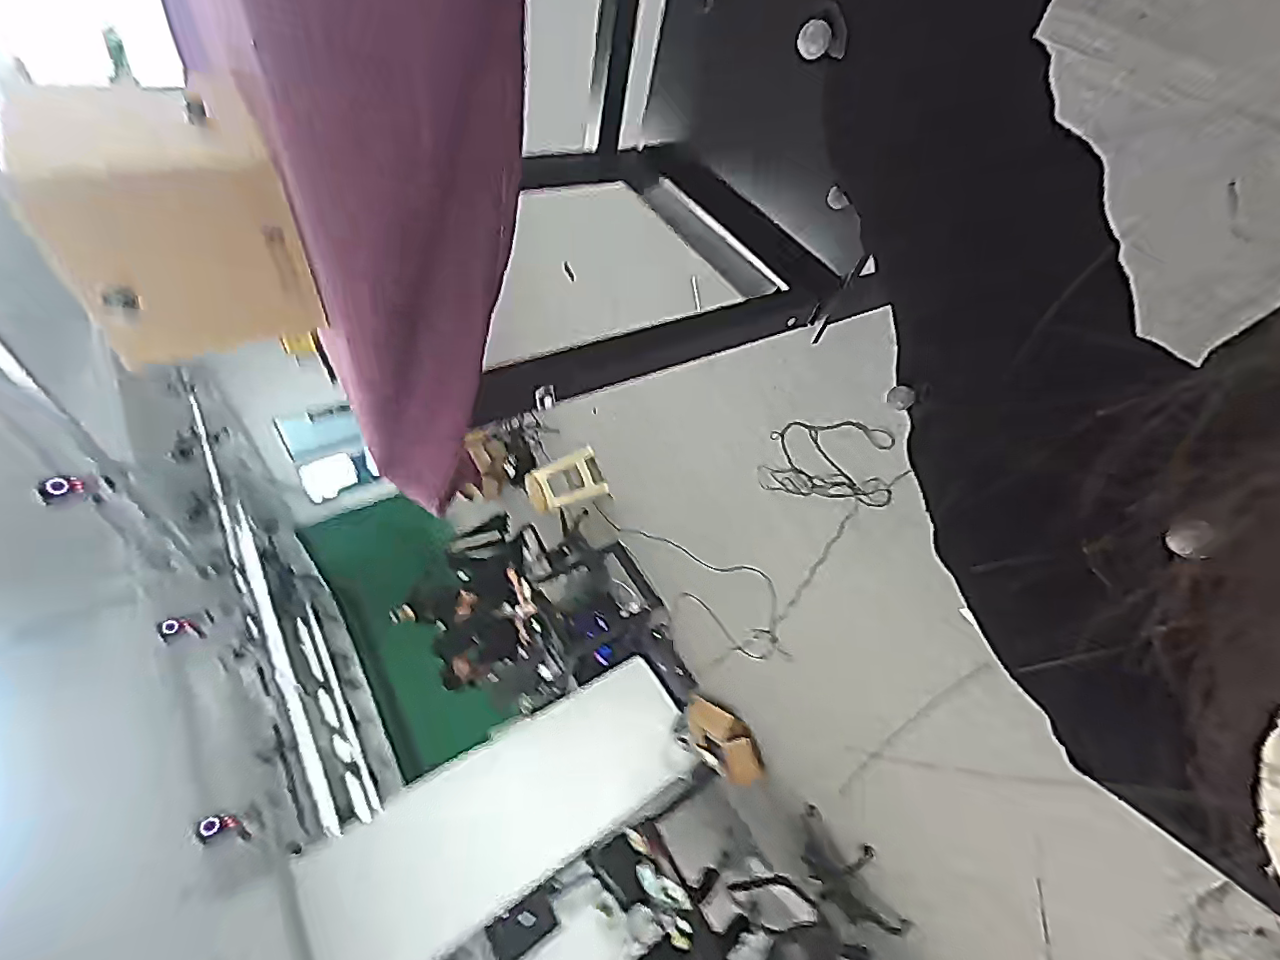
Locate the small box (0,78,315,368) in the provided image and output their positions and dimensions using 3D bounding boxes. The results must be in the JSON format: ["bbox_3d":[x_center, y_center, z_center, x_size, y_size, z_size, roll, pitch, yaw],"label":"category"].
[{"bbox_3d":[-0.420,-0.232,0.488,0.179,0.176,0.168,53,150,27],"label":"small box"}]
